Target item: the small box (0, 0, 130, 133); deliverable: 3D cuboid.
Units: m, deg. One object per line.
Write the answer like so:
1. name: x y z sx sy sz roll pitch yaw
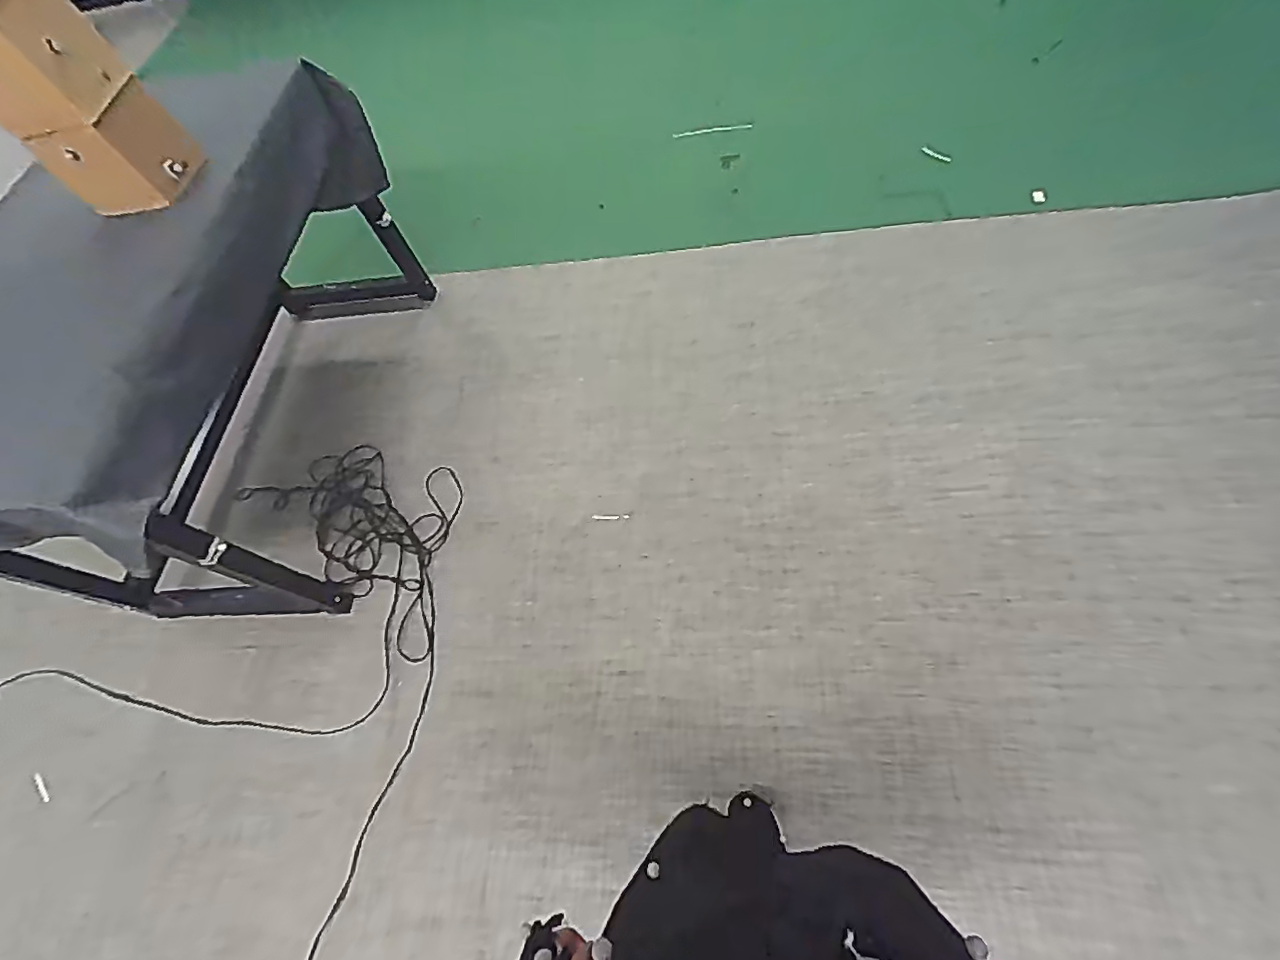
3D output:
1. small box: -1.041 -0.729 0.918 0.179 0.176 0.168 -3 64 10

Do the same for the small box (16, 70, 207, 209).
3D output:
1. small box: -1.023 -0.661 1.065 0.179 0.176 0.168 -1 64 8
